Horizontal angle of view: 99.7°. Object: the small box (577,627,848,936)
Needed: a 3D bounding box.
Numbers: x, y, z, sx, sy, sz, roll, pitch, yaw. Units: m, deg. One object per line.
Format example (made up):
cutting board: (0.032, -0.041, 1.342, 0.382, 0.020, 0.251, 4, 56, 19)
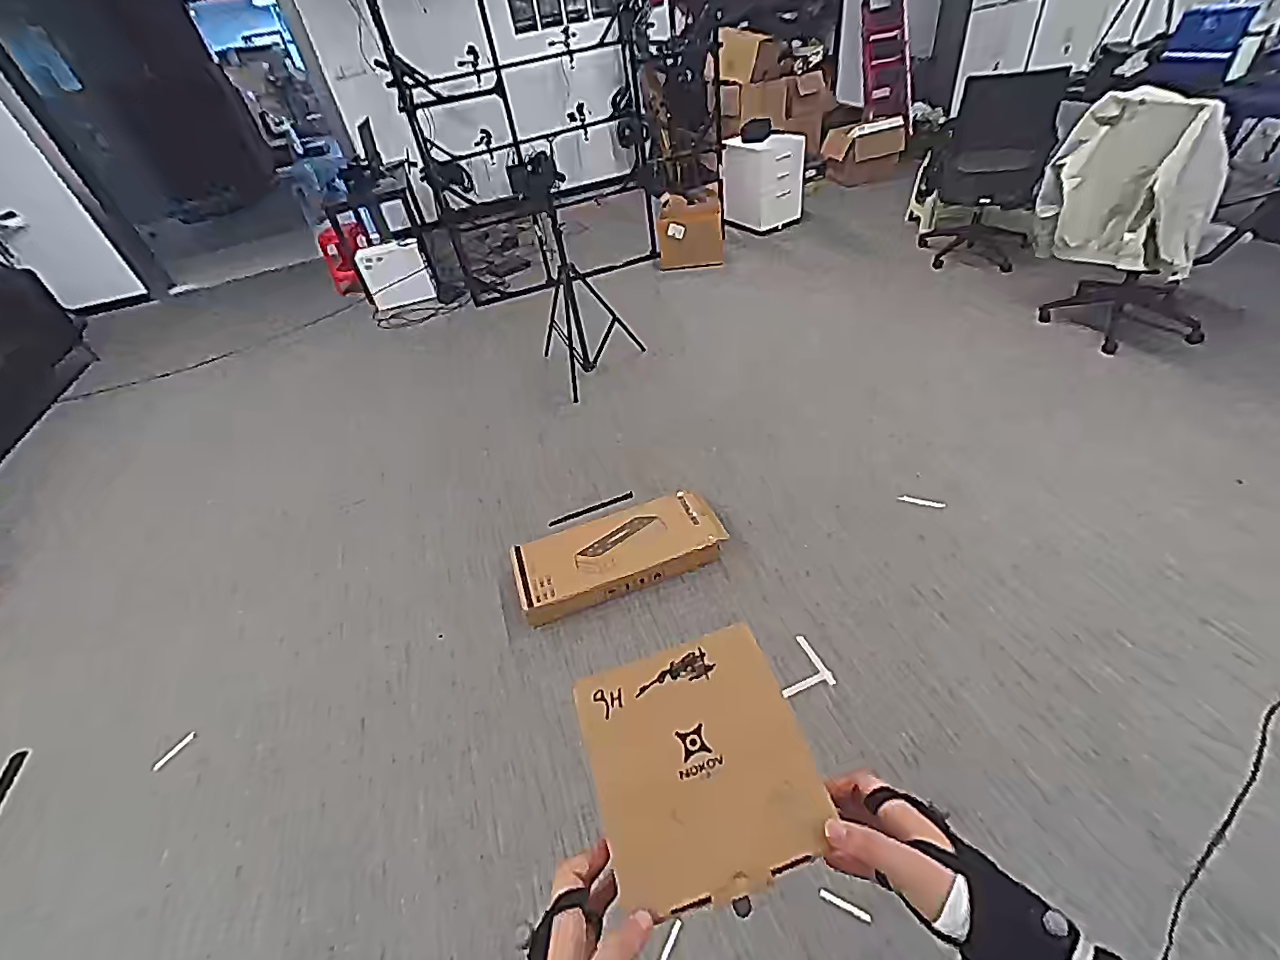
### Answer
small box: (0.055, 0.264, 0.484, 0.168, 0.176, 0.179, -18, 53, -6)
